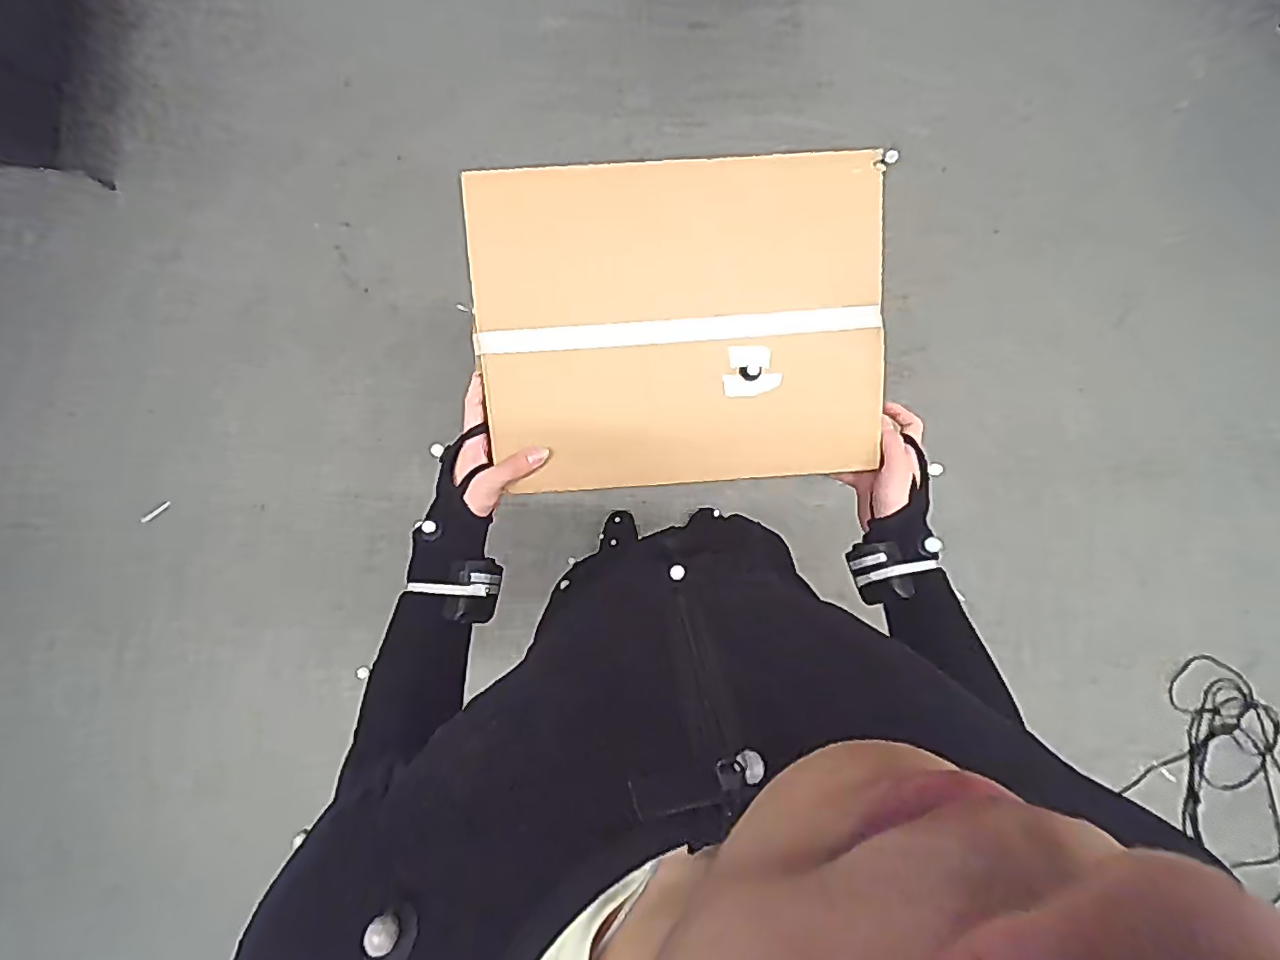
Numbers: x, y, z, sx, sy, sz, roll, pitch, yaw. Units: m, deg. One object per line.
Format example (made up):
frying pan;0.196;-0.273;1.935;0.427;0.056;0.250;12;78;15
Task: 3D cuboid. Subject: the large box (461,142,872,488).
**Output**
large box;0.030;-0.185;0.693;0.408;0.320;0.320;-5;101;-2
